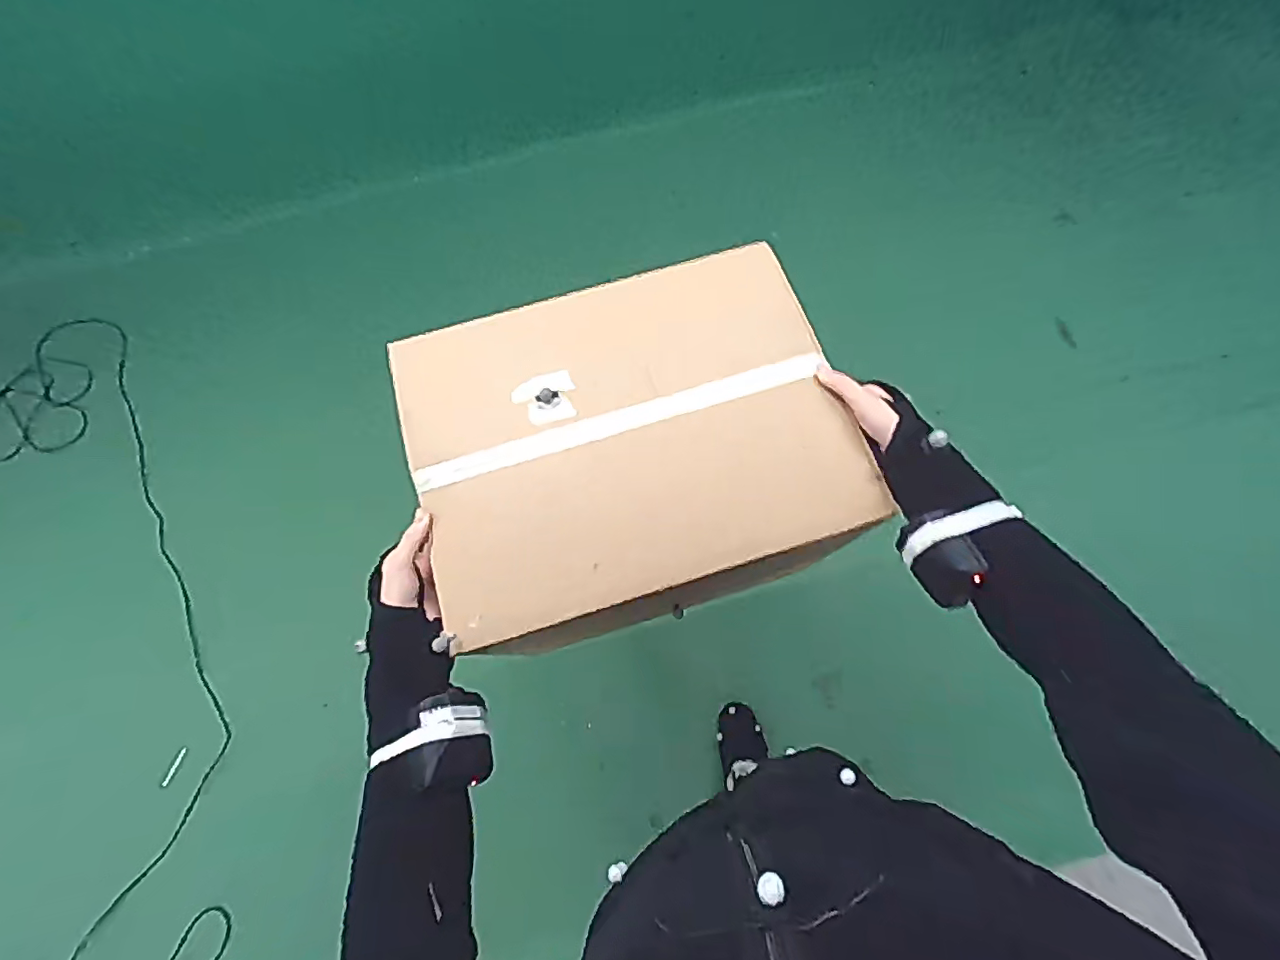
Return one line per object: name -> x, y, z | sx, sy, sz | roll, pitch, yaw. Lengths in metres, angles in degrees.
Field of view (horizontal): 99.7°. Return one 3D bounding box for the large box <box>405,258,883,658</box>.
large box -> -0.003, 0.002, 0.665 | 0.408, 0.320, 0.320 | -17, 71, -3
